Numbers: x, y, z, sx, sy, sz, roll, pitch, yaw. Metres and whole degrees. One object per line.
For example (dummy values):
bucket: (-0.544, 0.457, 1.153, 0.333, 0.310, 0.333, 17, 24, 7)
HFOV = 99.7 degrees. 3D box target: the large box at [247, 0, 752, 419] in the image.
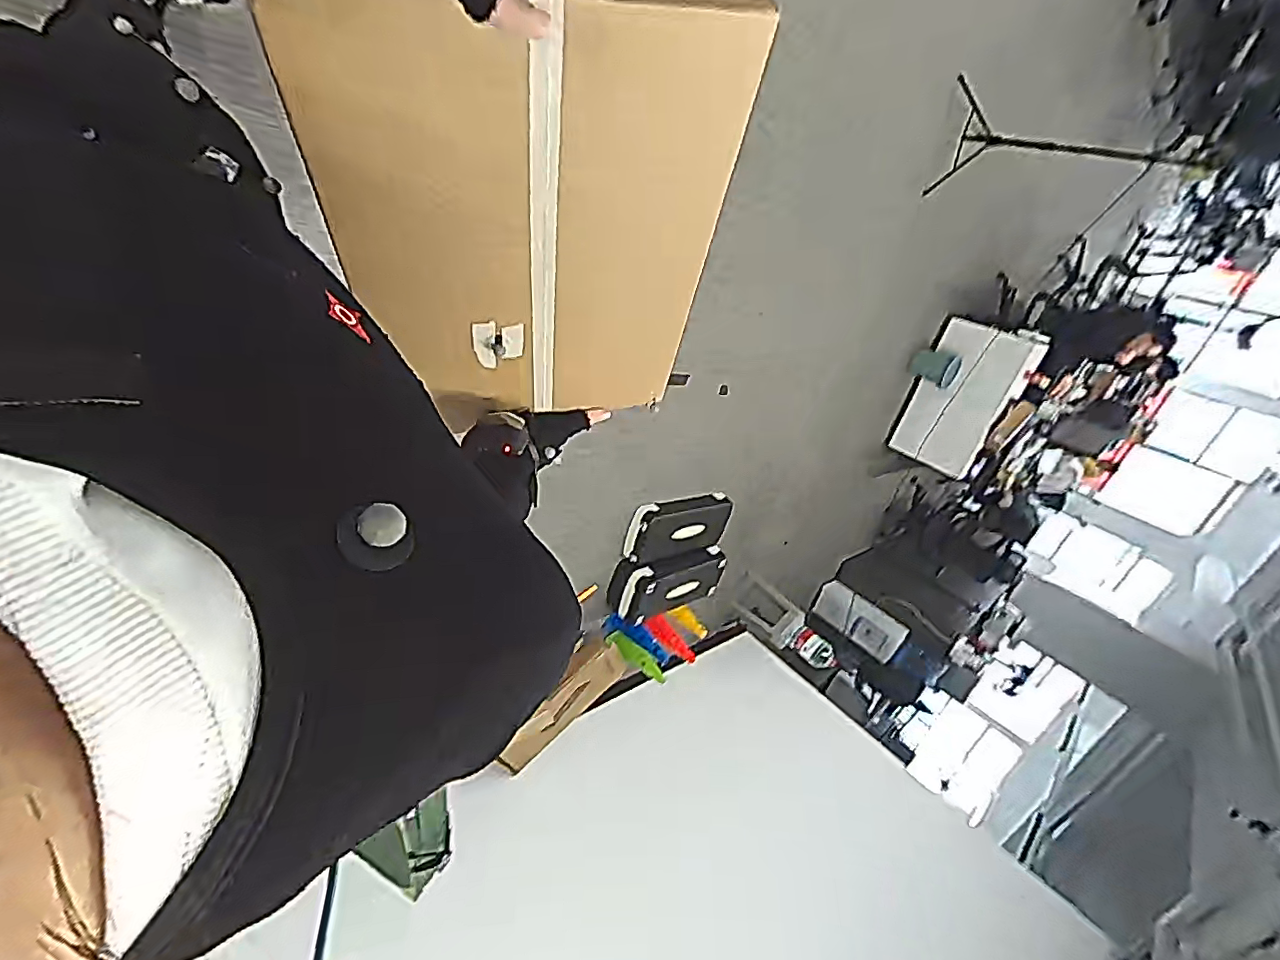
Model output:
large box: (-0.139, -0.323, 0.552, 0.320, 0.320, 0.408, -11, 152, -16)
